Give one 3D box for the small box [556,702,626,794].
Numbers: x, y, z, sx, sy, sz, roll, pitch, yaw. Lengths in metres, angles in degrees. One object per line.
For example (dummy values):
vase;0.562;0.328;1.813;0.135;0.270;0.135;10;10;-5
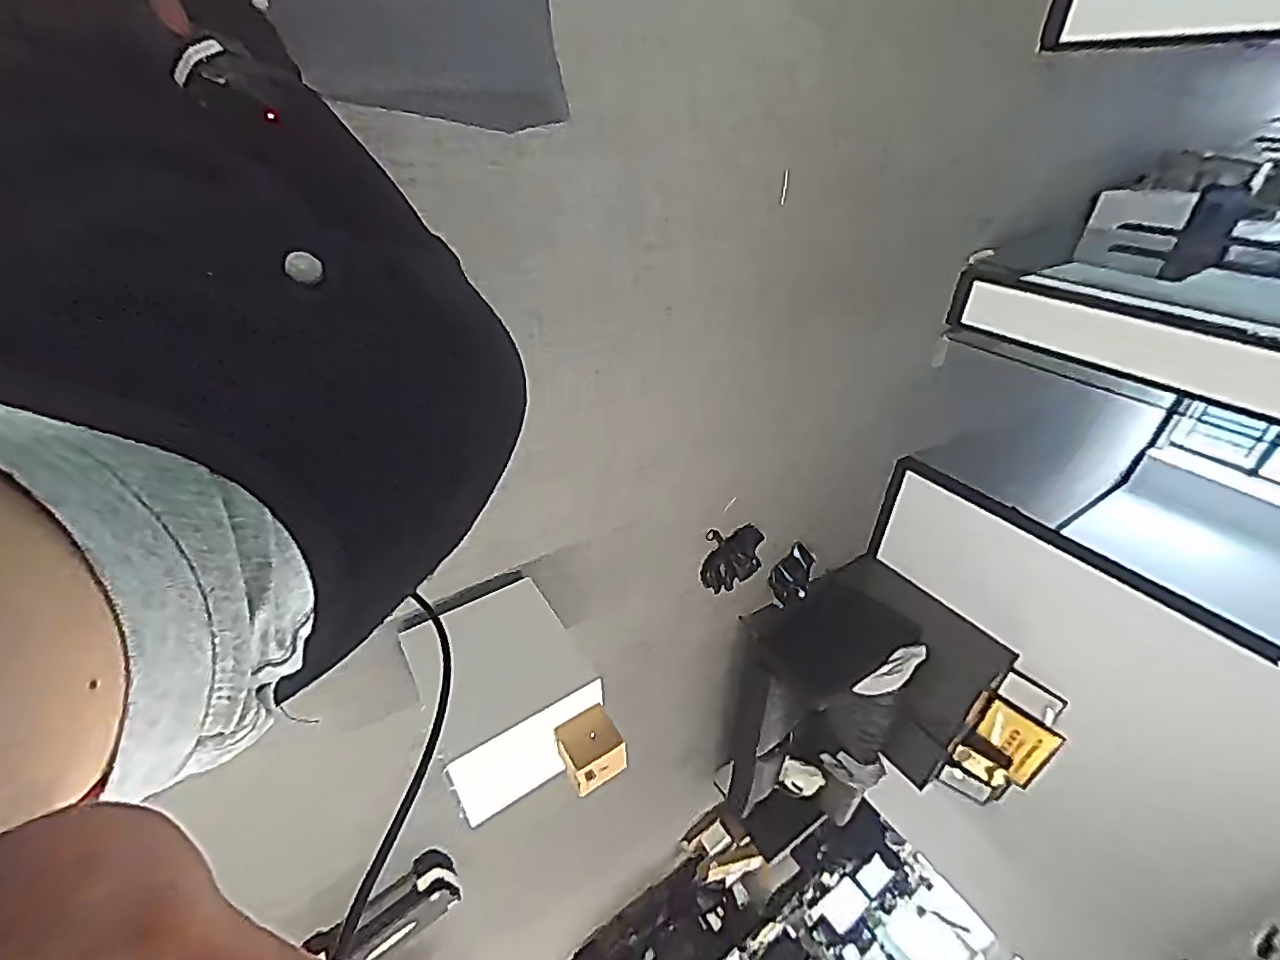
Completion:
small box;-0.164;0.875;1.777;0.179;0.176;0.168;-23;132;-26
